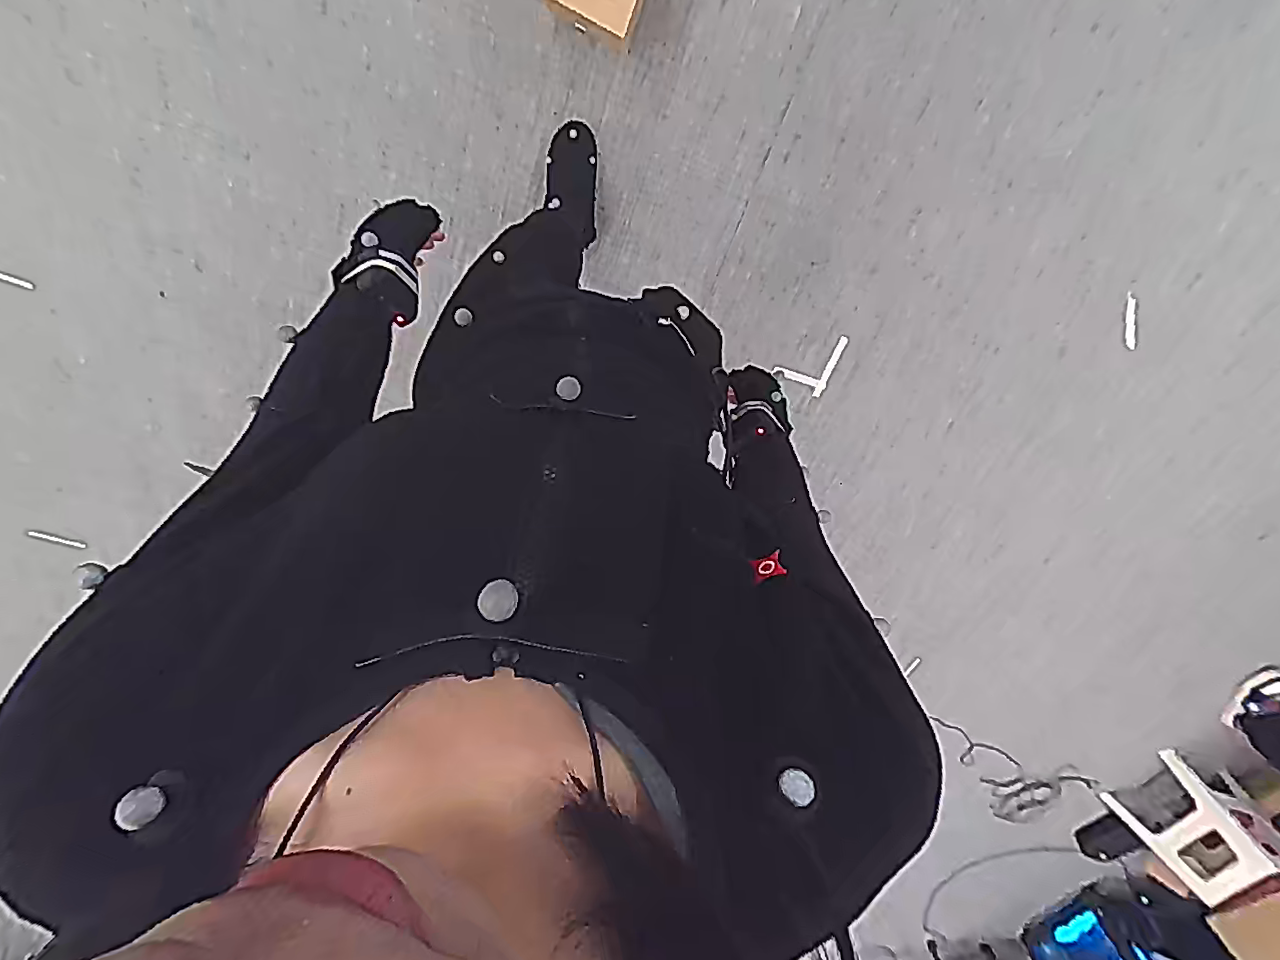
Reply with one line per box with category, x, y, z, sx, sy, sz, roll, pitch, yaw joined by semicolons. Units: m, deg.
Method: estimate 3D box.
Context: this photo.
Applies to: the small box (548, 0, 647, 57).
small box;-0.069;-0.937;1.005;0.168;0.176;0.179;21;117;-11
